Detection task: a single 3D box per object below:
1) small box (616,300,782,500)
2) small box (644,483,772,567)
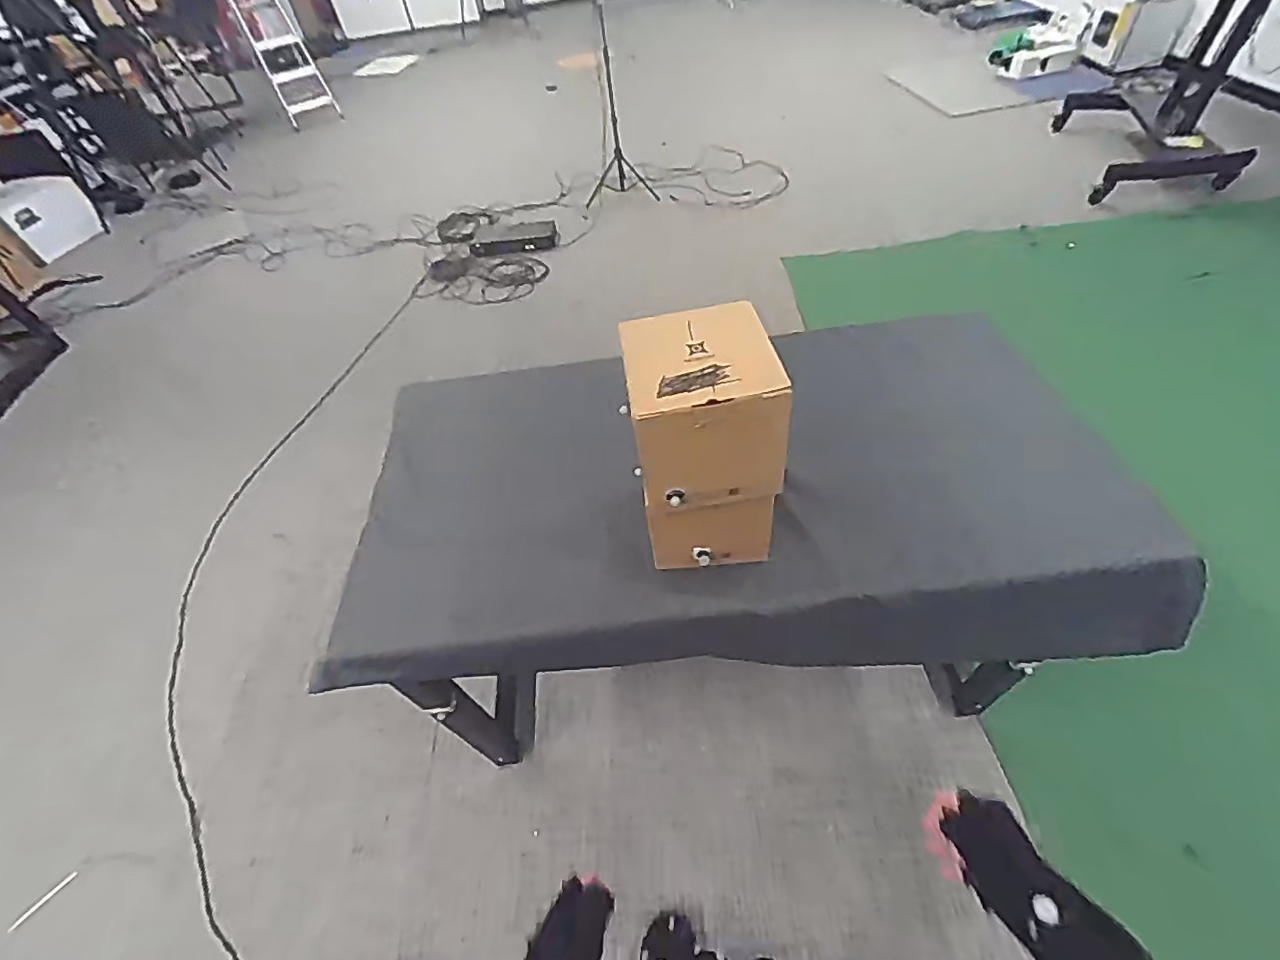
[{"bbox_3d":[0.070,-0.091,0.668,0.168,0.176,0.179,-10,48,1],"label":"small box"},{"bbox_3d":[0.092,0.006,0.799,0.168,0.176,0.179,-7,50,4],"label":"small box"}]
